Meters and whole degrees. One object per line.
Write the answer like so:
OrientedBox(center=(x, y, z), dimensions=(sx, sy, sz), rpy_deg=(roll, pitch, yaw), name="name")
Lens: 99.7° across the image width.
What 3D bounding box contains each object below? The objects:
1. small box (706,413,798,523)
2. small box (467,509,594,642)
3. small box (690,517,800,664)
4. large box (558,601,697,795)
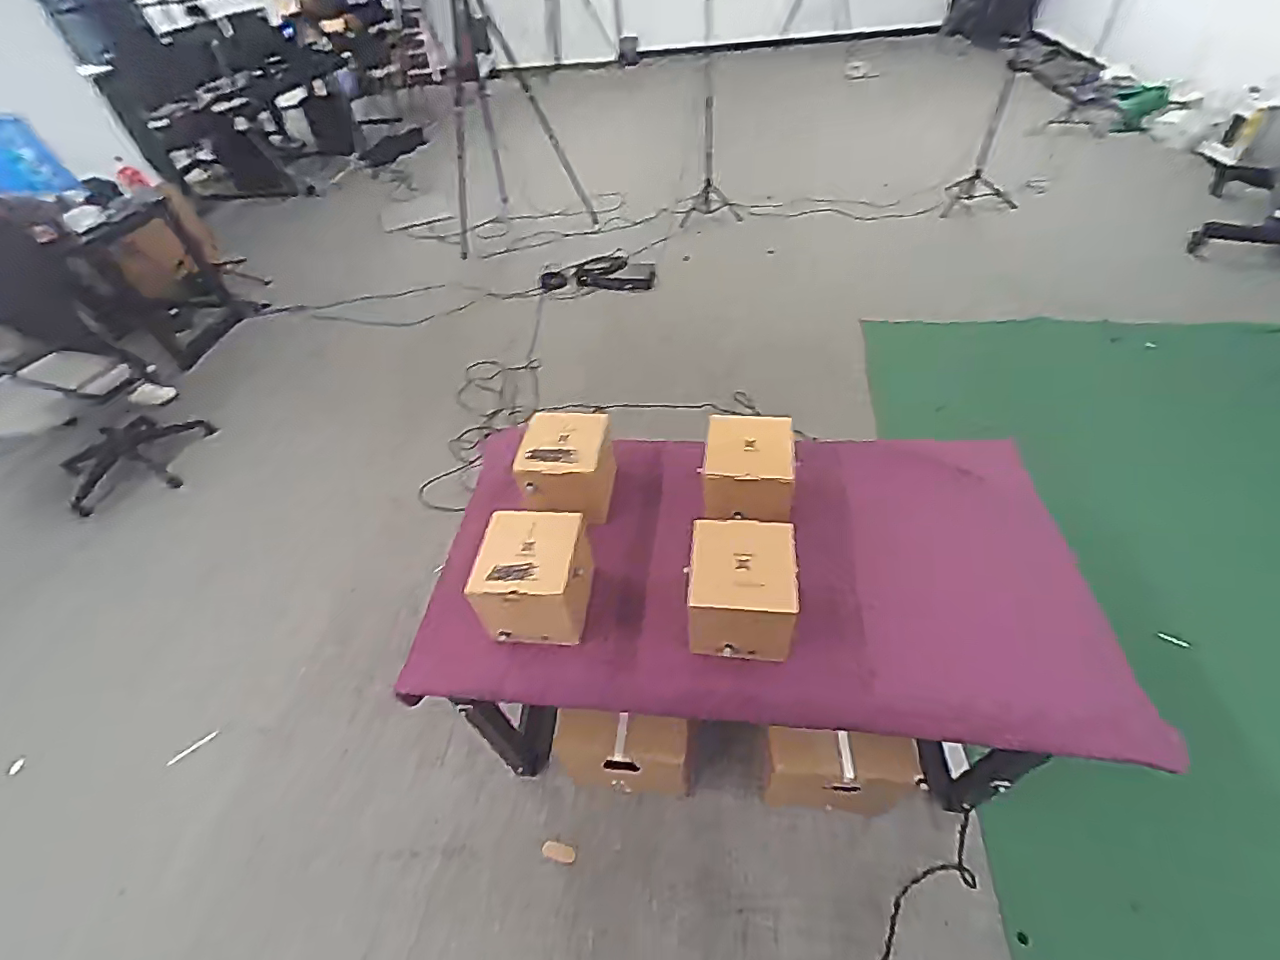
OrientedBox(center=(0.225, -0.014, 1.101), dimensions=(0.168, 0.176, 0.179), rpy_deg=(4, 49, 10), name="small box")
OrientedBox(center=(-0.184, 0.173, 0.973), dimensions=(0.168, 0.176, 0.179), rpy_deg=(1, 46, 8), name="small box")
OrientedBox(center=(0.175, 0.186, 0.919), dimensions=(0.168, 0.176, 0.179), rpy_deg=(2, 47, 10), name="small box")
OrientedBox(center=(-0.008, 0.590, 1.474), dimensions=(0.320, 0.320, 0.408), rpy_deg=(2, 47, 8), name="large box")
